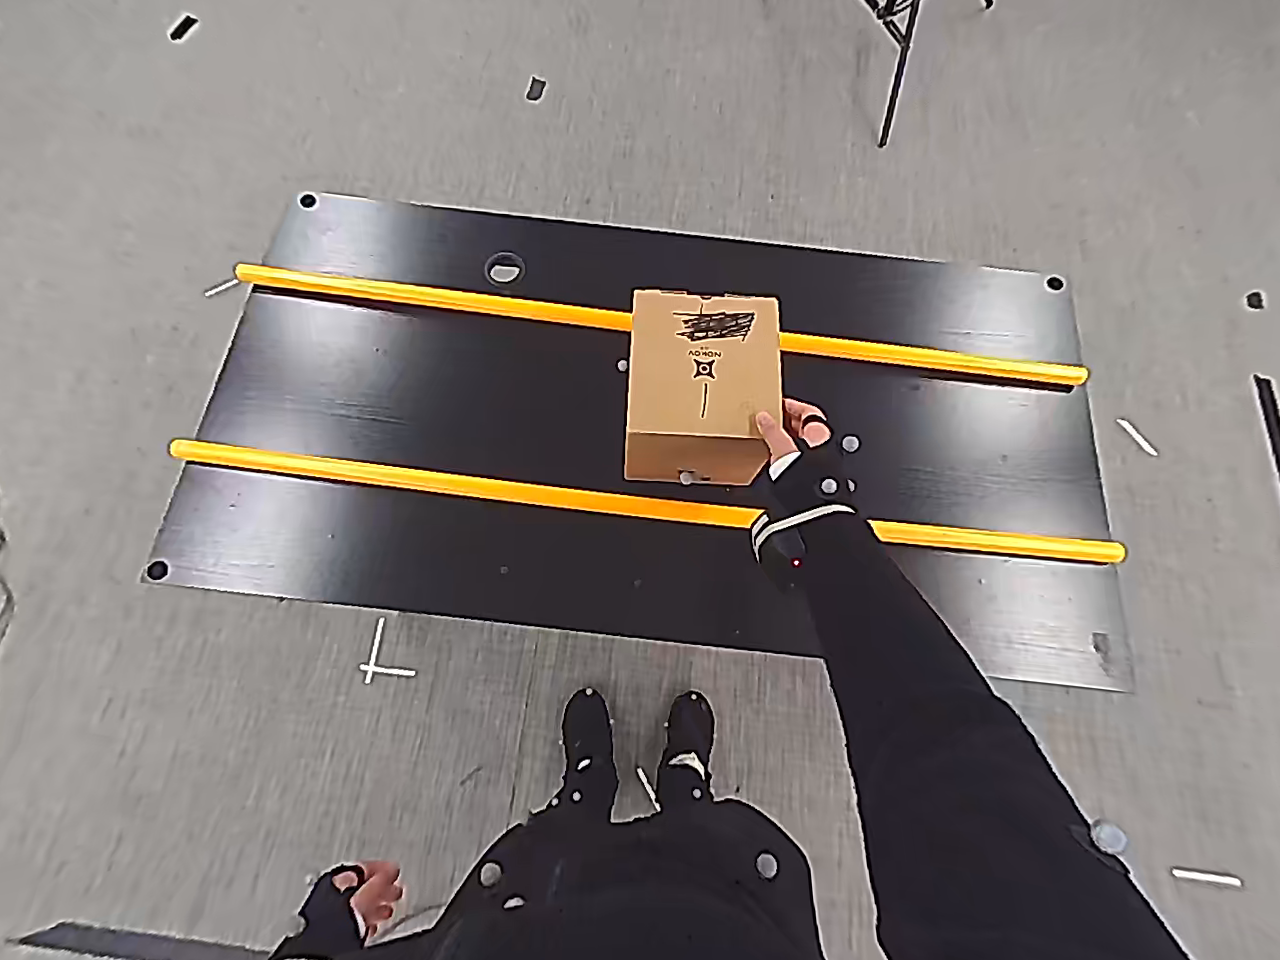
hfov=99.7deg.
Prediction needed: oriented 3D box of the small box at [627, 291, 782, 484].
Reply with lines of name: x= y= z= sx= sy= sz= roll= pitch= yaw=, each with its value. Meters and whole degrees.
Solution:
small box: x=0.070 y=-0.106 z=0.670 sx=0.168 sy=0.176 sz=0.179 roll=3 pitch=73 yaw=-1
